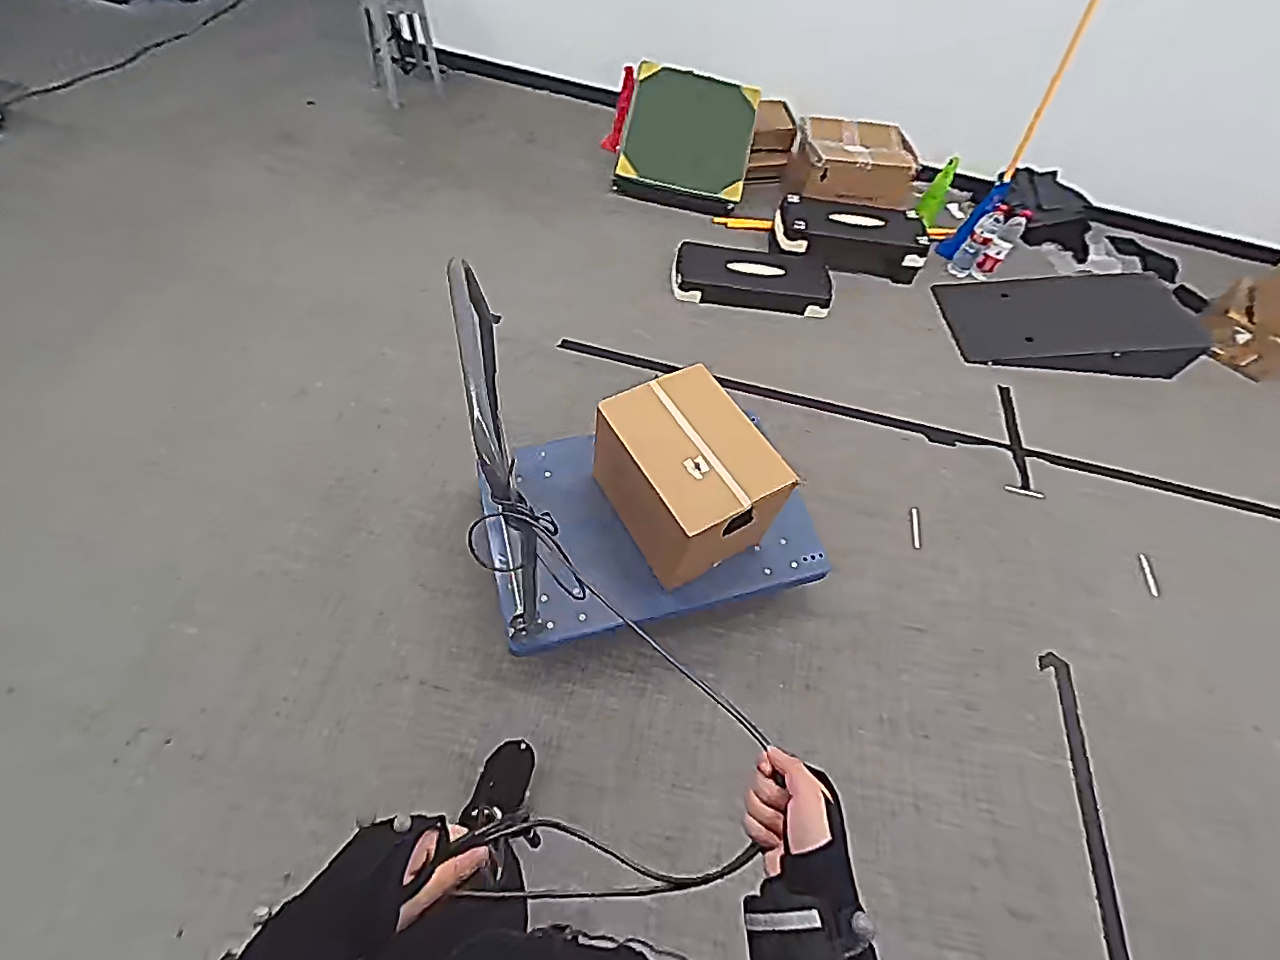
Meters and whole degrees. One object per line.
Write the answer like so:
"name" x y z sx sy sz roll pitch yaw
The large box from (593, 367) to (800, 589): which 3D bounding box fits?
"large box" 0.113 -0.006 1.369 0.320 0.320 0.408 -25 65 -20
